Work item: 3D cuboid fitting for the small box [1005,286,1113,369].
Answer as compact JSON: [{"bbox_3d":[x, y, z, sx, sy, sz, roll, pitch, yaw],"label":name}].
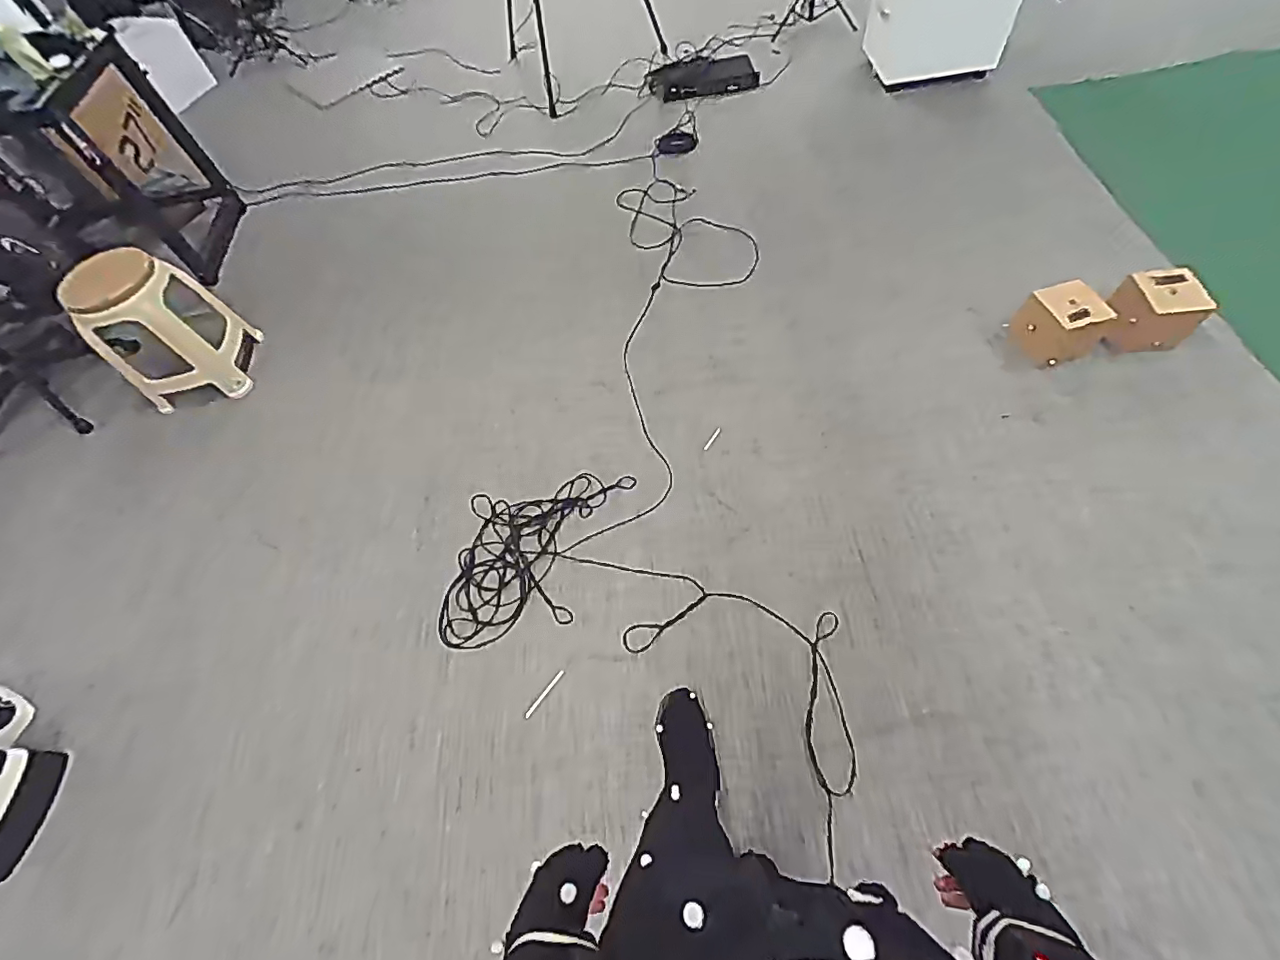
[{"bbox_3d":[1.294,-0.468,1.686,0.168,0.176,0.179,-14,58,-2],"label":"small box"}]
